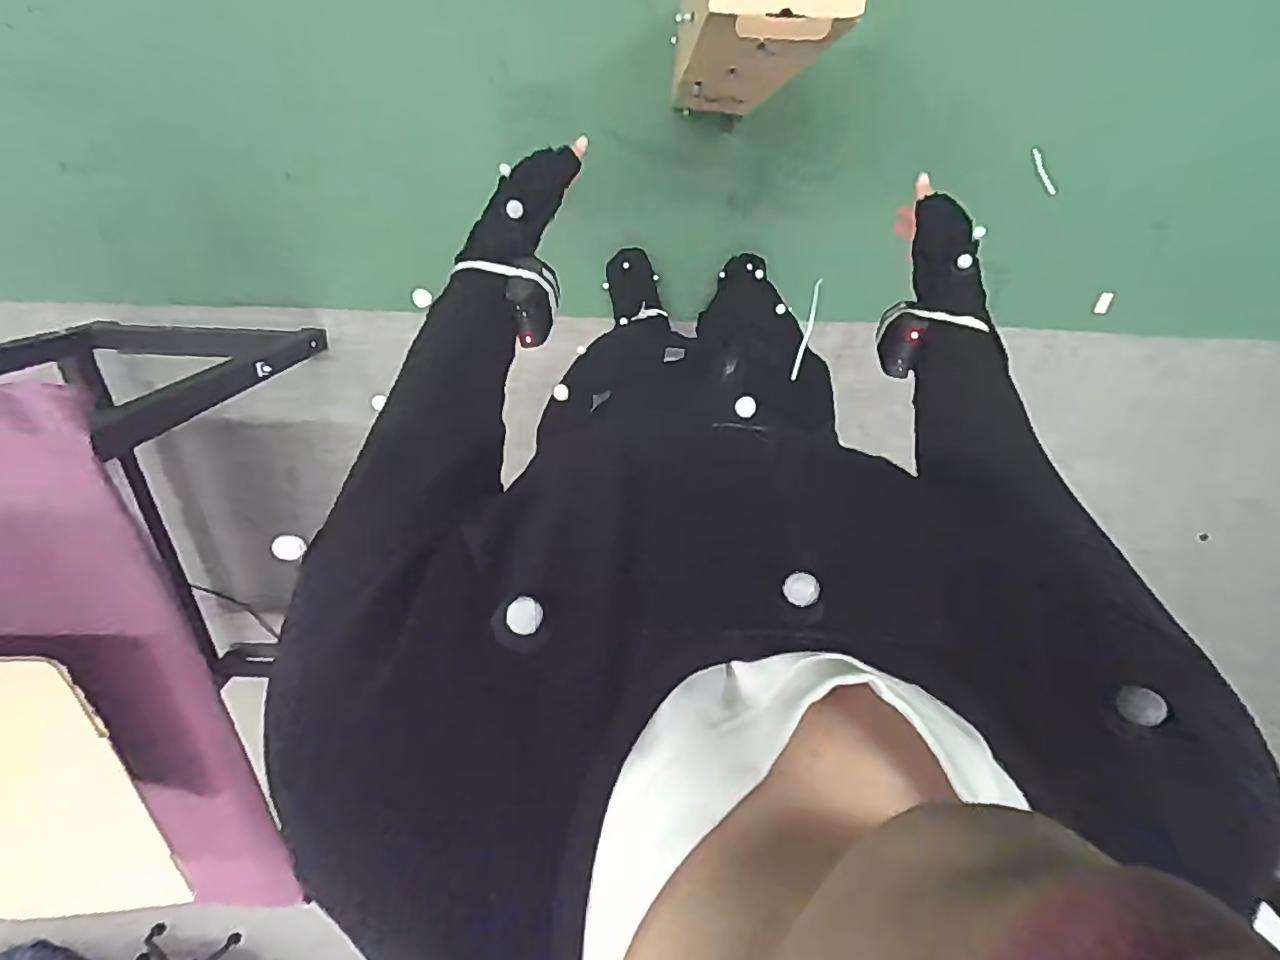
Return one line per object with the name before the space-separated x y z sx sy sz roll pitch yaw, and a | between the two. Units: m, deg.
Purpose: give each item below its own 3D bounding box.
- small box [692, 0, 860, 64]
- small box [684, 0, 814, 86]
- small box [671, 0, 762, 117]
small box | 0.152 -0.601 0.609 0.168 0.176 0.179 1 117 -1
small box | 0.155 -0.678 0.755 0.168 0.176 0.179 2 117 -2
small box | 0.153 -0.823 1.049 0.168 0.176 0.179 4 117 -3
